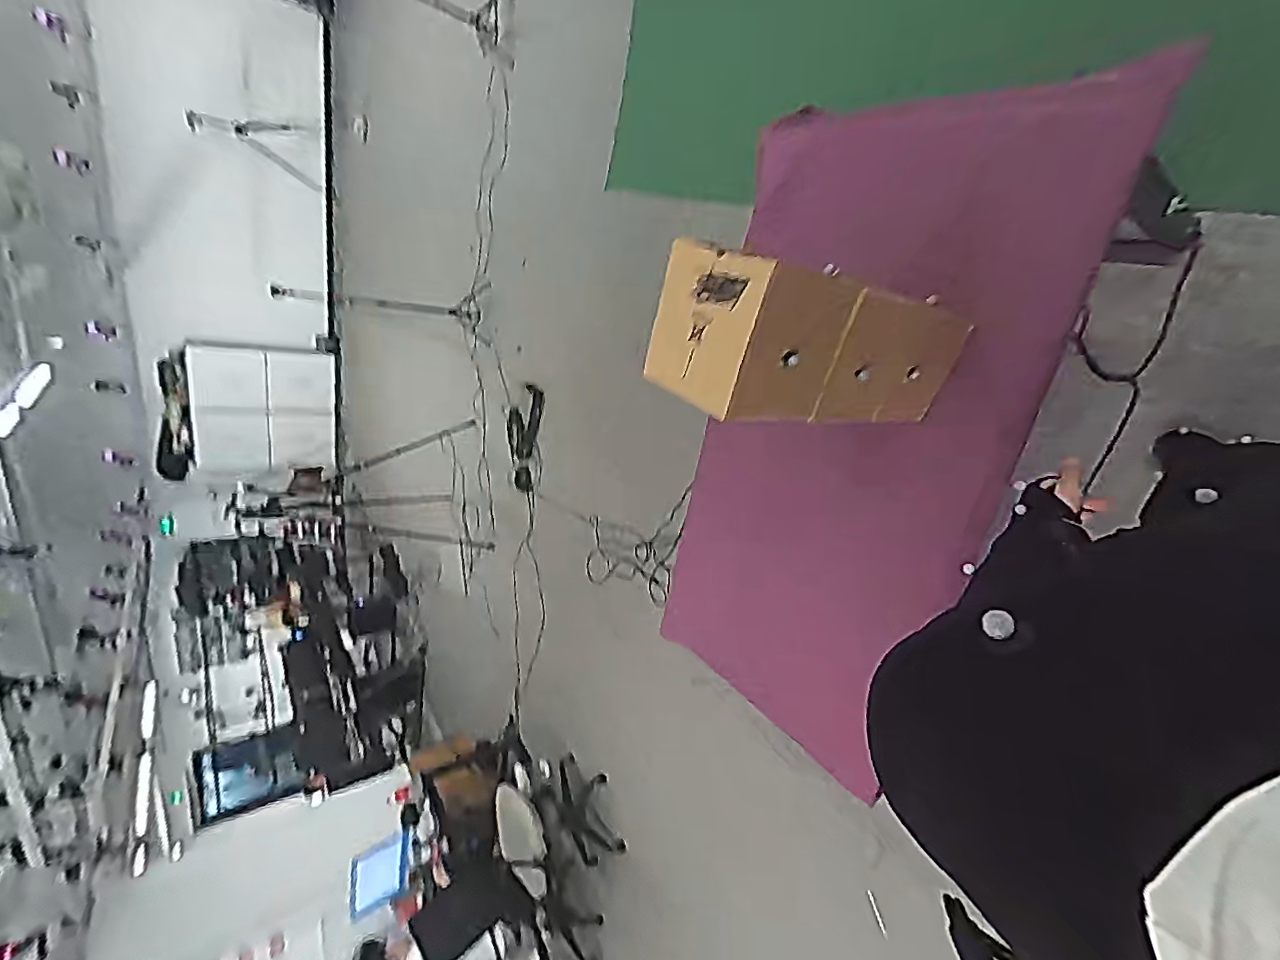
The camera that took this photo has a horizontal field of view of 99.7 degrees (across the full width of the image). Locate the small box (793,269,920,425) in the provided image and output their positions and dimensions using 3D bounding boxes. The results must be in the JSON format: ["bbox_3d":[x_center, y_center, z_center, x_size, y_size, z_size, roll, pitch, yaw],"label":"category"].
[{"bbox_3d":[0.270,-0.195,0.786,0.168,0.176,0.179,39,125,41],"label":"small box"}]

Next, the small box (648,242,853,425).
[{"bbox_3d":[0.139,-0.183,0.685,0.168,0.176,0.179,39,125,42],"label":"small box"}]

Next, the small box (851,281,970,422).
[{"bbox_3d":[0.397,-0.208,0.887,0.168,0.176,0.179,43,127,40],"label":"small box"}]
